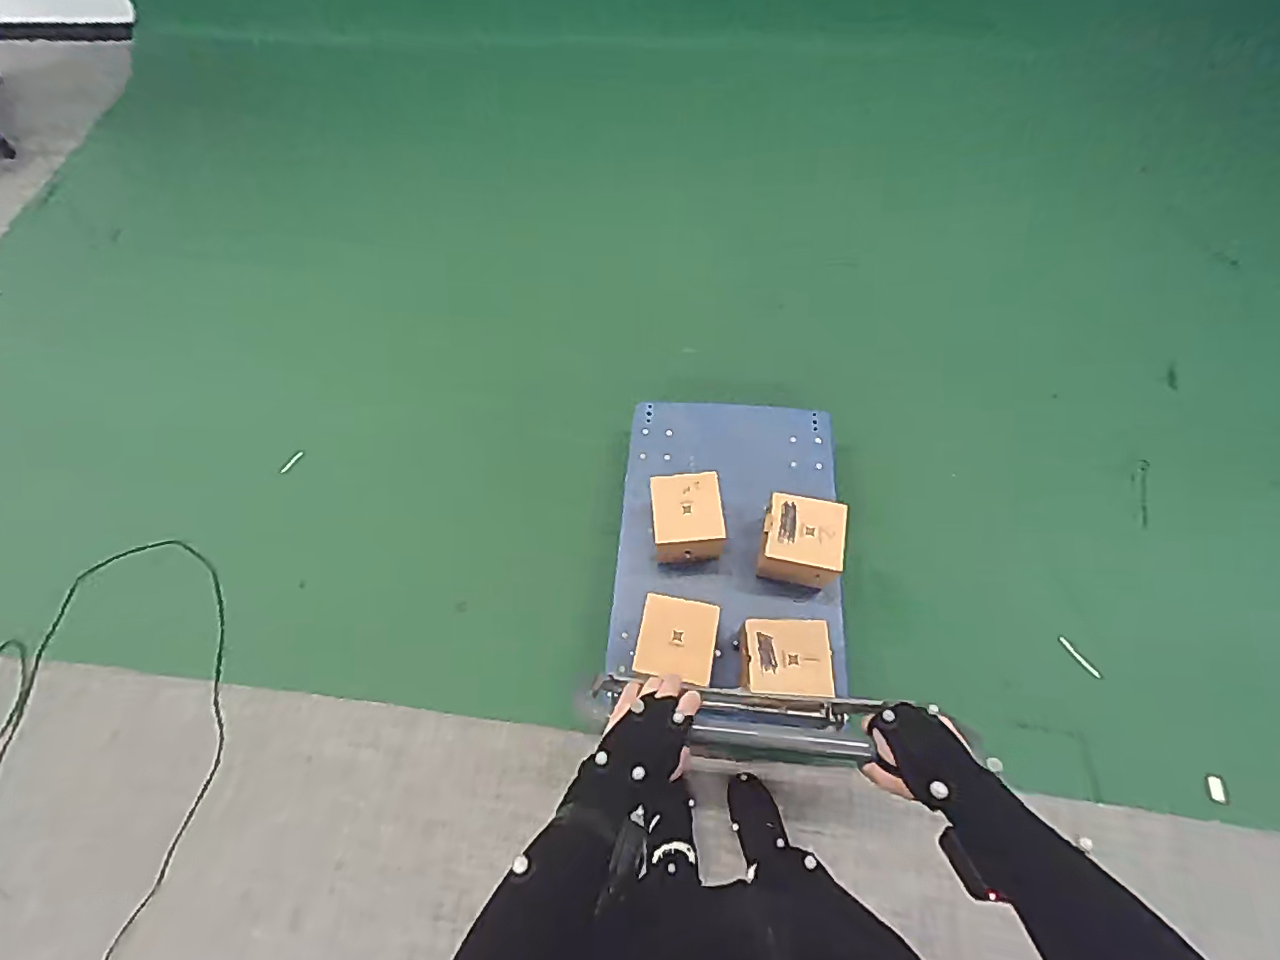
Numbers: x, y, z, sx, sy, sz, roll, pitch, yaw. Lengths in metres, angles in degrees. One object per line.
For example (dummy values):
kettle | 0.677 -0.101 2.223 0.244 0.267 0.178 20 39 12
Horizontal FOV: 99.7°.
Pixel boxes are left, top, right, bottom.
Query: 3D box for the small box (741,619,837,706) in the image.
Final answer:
small box | 0.319 0.410 1.202 0.179 0.176 0.168 1 66 2

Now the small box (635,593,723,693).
small box | 0.087 0.375 1.234 0.168 0.176 0.179 10 67 7

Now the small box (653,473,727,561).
small box | 0.121 0.099 1.358 0.168 0.176 0.179 -4 65 1
